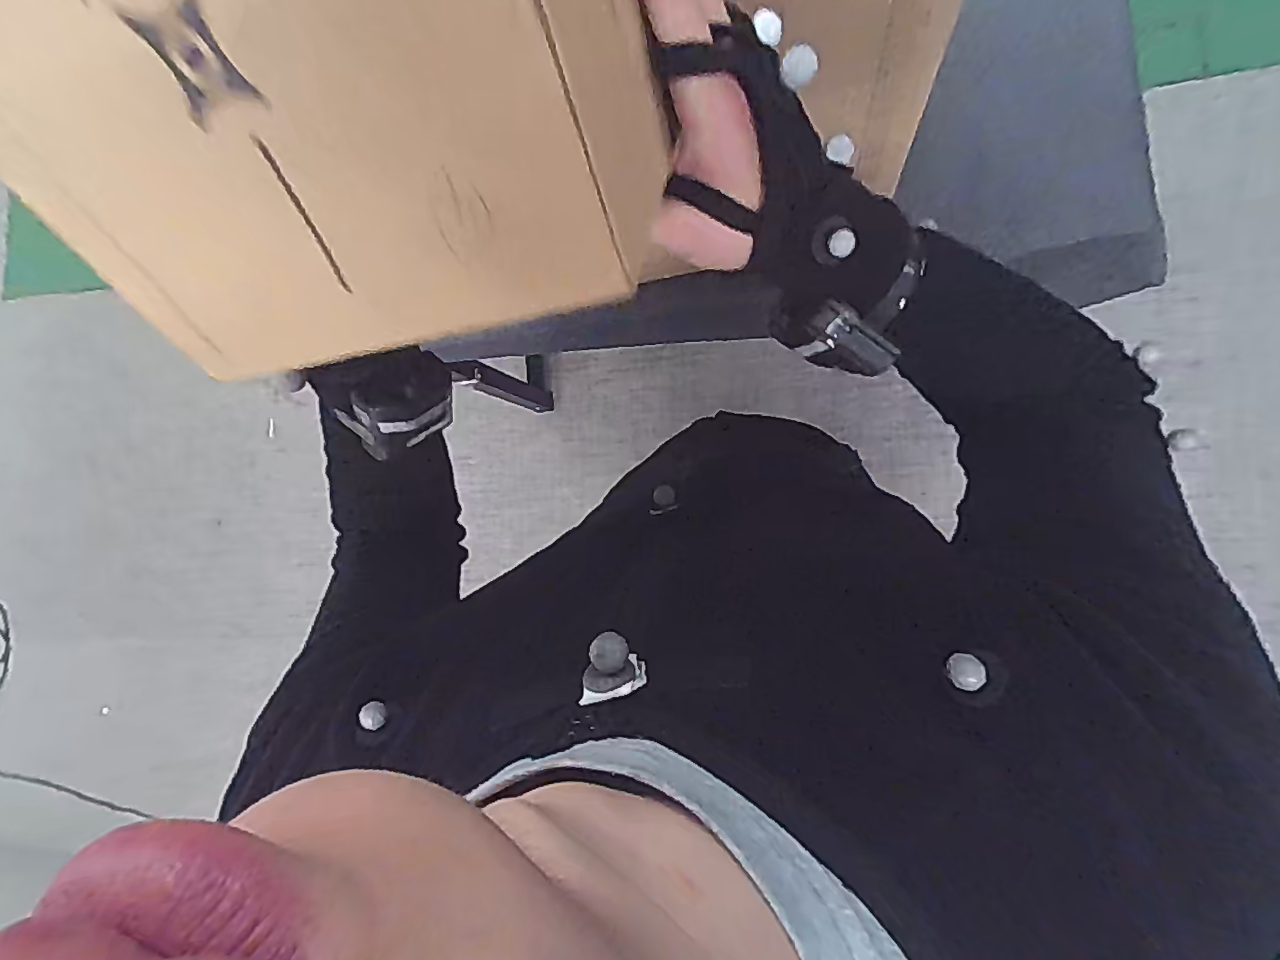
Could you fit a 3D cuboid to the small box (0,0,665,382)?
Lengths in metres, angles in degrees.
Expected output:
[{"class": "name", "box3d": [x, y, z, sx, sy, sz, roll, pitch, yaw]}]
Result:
[{"class": "small box", "box3d": [-0.096, -0.160, 0.169, 0.168, 0.179, 0.176, -7, 44, 17]}]
